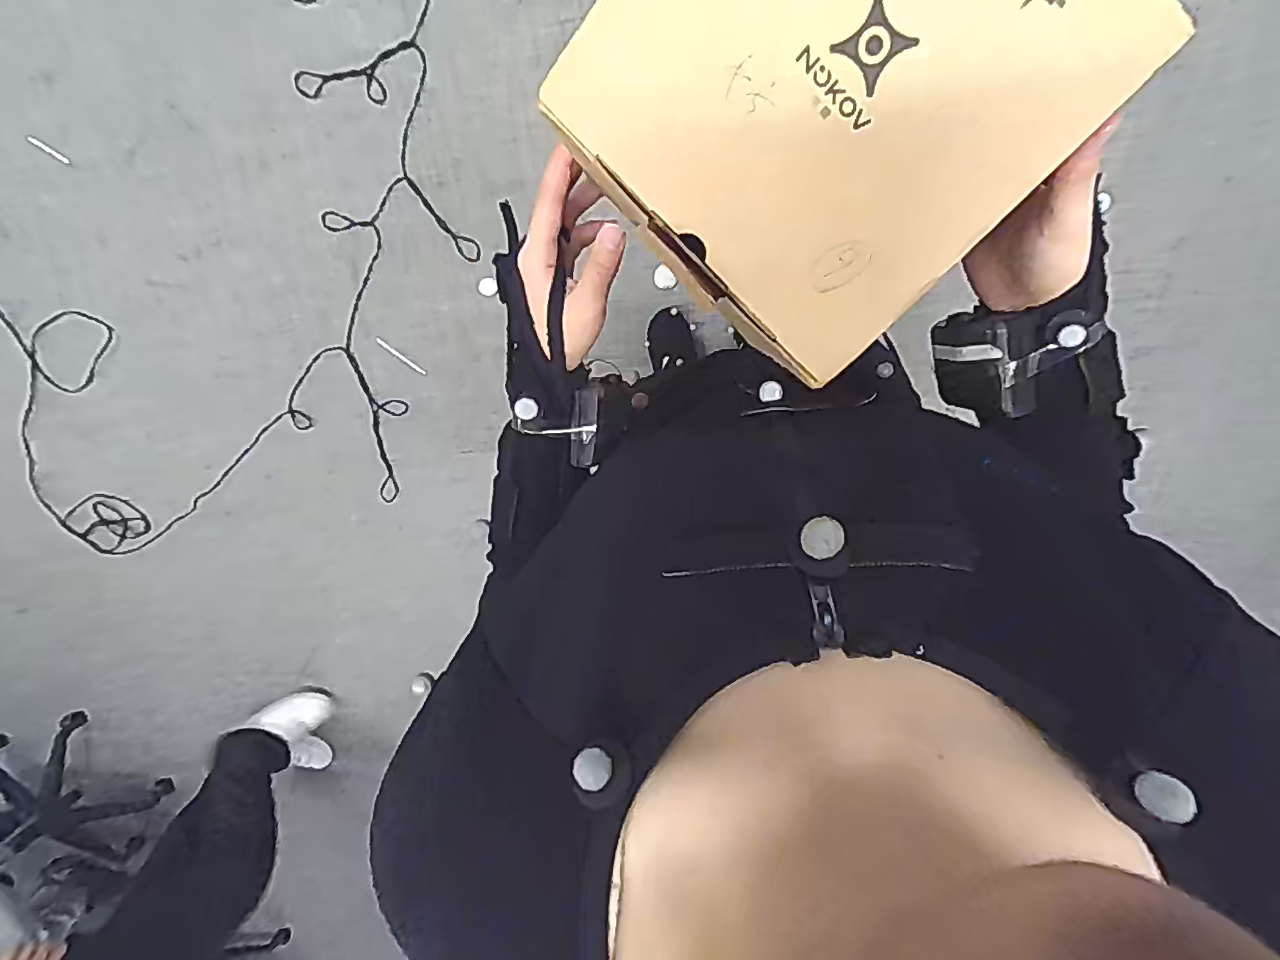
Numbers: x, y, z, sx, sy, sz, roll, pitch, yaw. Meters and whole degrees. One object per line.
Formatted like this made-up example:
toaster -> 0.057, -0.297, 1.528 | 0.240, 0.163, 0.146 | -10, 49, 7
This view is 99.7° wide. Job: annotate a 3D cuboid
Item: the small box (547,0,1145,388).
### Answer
small box -> 0.081, -0.179, 0.289 | 0.168, 0.176, 0.179 | 41, 107, -12
